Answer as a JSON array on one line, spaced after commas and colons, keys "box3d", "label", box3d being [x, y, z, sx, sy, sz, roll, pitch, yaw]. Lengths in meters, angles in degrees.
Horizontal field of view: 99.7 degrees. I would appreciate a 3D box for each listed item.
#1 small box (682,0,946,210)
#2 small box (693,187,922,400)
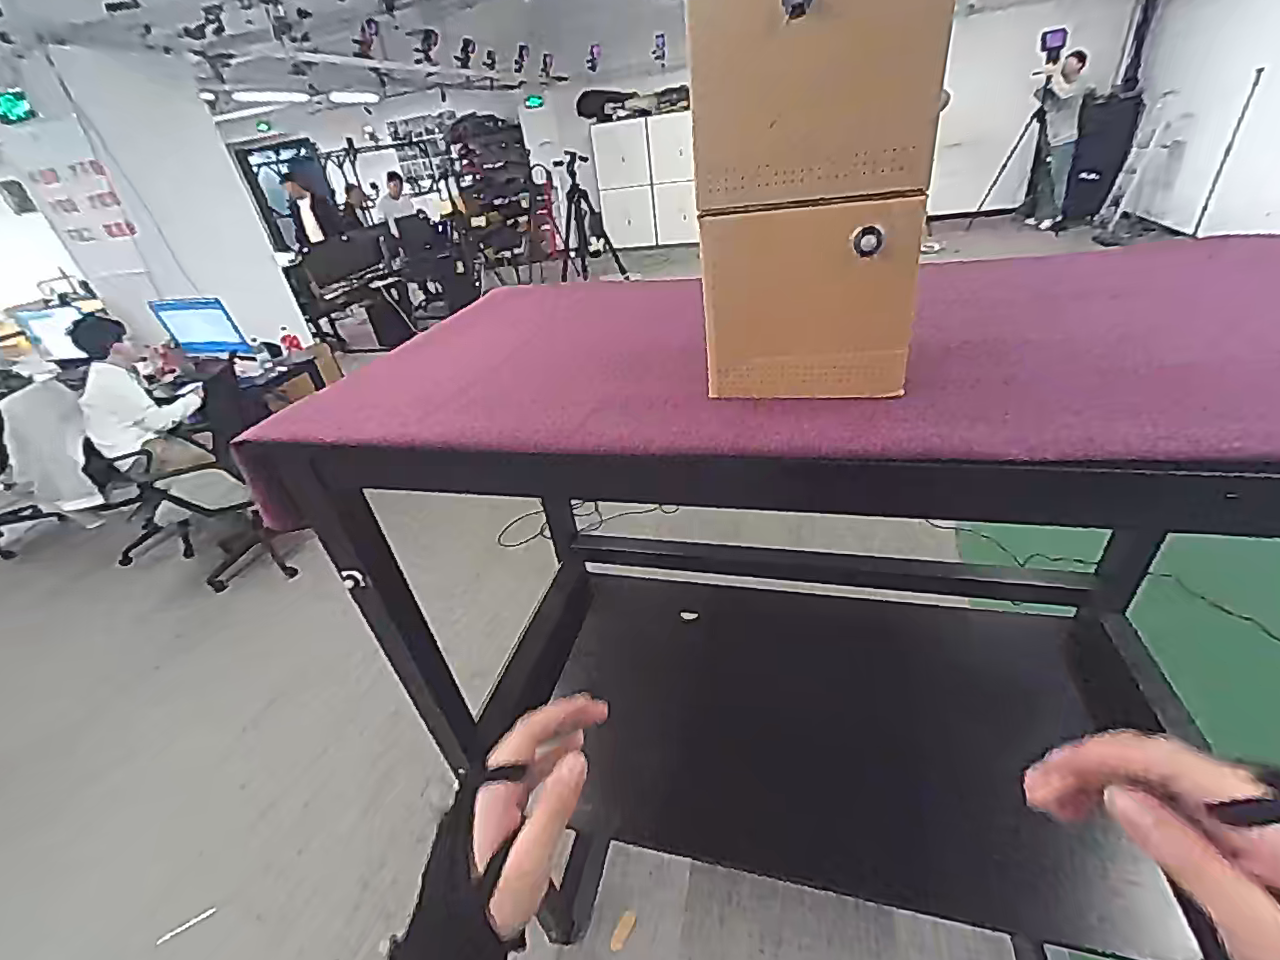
[{"box3d": [0.137, -0.324, 0.439, 0.179, 0.176, 0.168, 3, 34, 17], "label": "small box"}, {"box3d": [0.156, -0.184, 0.525, 0.179, 0.176, 0.168, 2, 33, 16], "label": "small box"}]
